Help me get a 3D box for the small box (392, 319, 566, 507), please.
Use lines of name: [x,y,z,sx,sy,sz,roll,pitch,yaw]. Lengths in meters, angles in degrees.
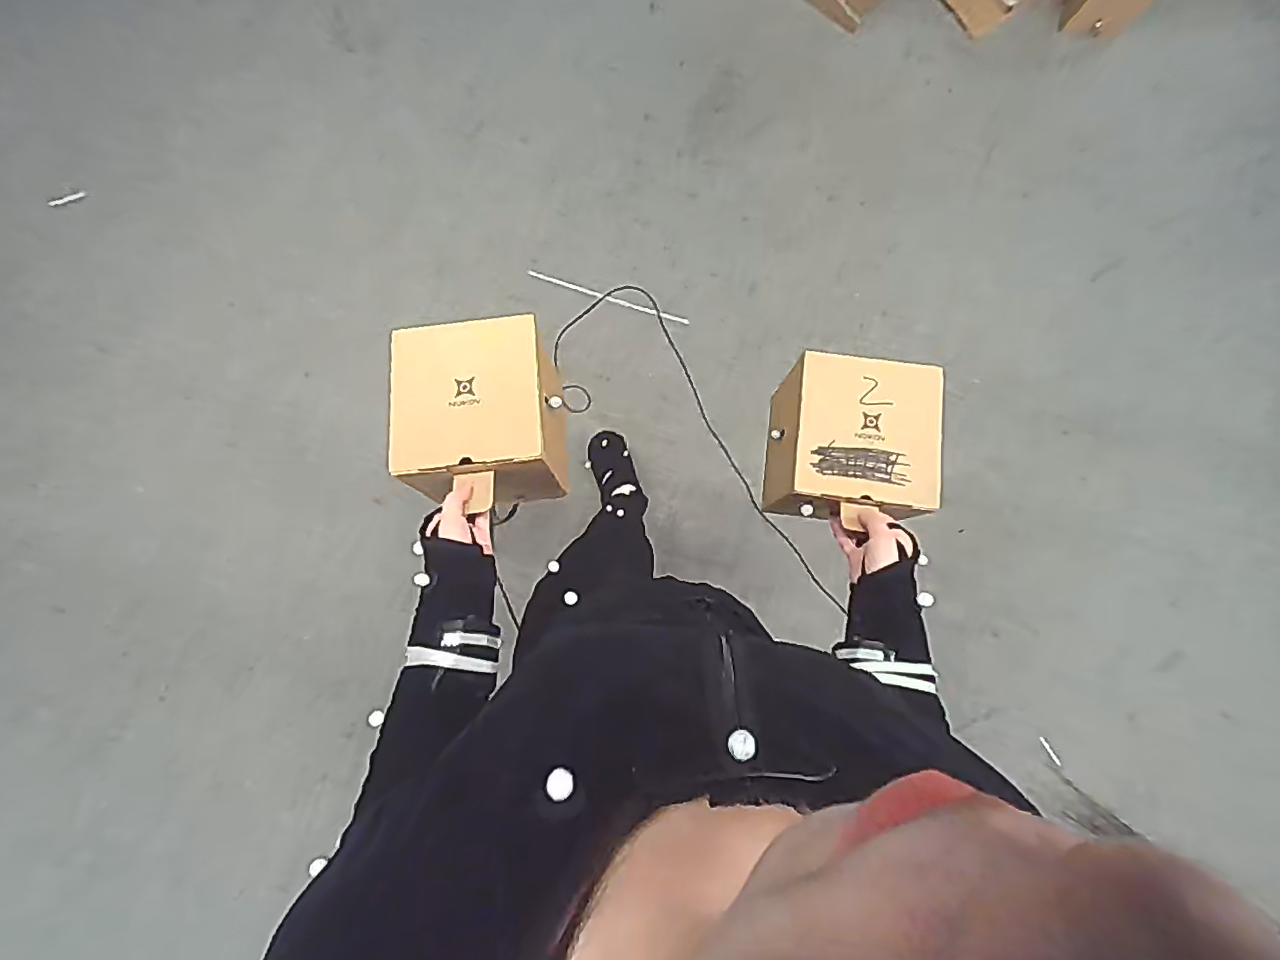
small box: [-0.190,-0.076,0.680,0.168,0.176,0.179,-6,74,0]
